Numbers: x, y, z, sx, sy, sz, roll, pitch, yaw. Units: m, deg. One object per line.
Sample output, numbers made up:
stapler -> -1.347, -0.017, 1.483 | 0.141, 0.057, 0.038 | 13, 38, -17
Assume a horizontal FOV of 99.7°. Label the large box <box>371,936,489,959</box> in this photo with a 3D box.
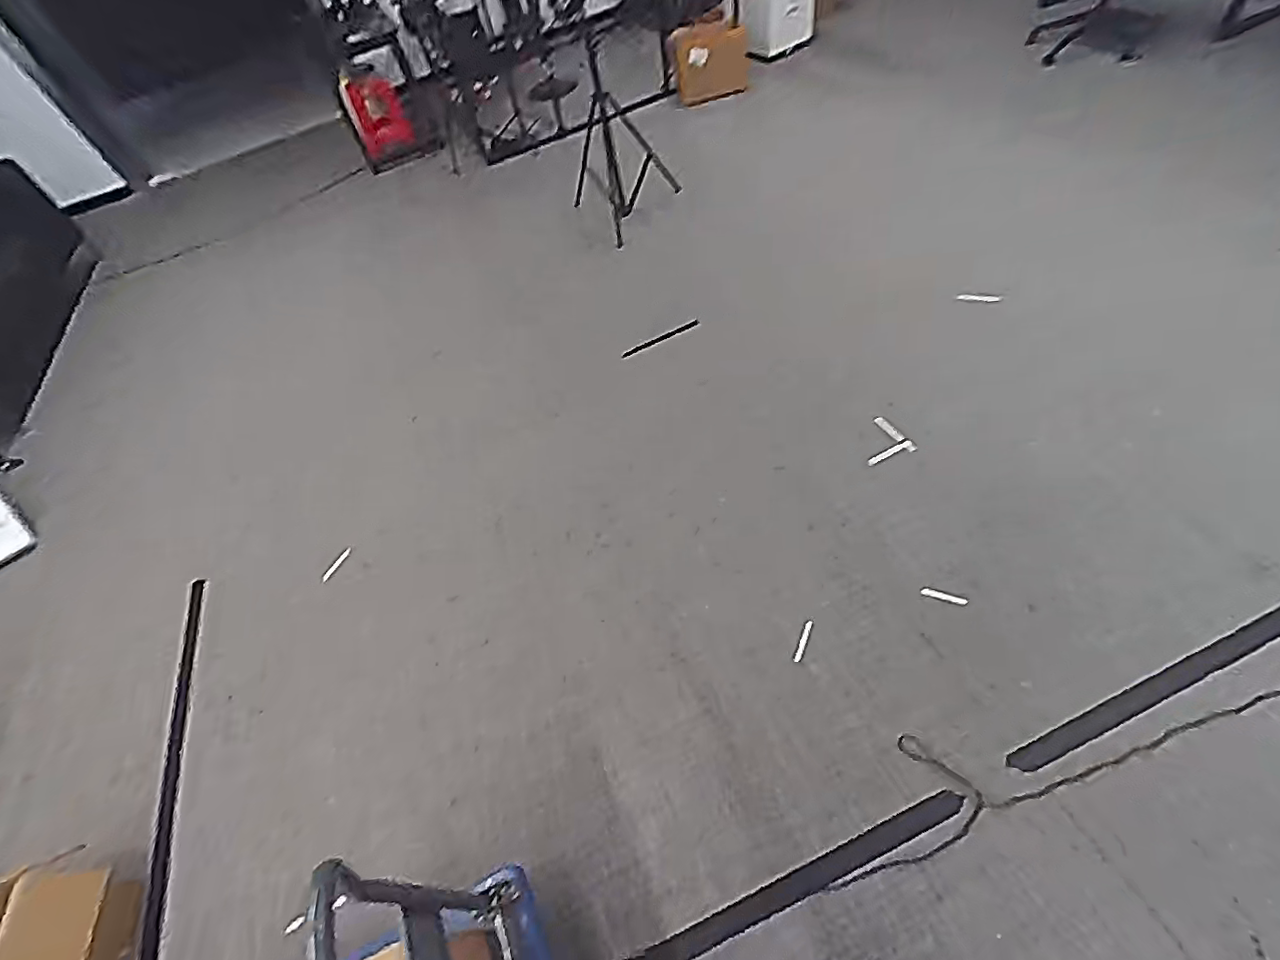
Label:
large box -> -0.382, 1.003, 0.808 | 0.320, 0.320, 0.408 | -27, 51, -8
